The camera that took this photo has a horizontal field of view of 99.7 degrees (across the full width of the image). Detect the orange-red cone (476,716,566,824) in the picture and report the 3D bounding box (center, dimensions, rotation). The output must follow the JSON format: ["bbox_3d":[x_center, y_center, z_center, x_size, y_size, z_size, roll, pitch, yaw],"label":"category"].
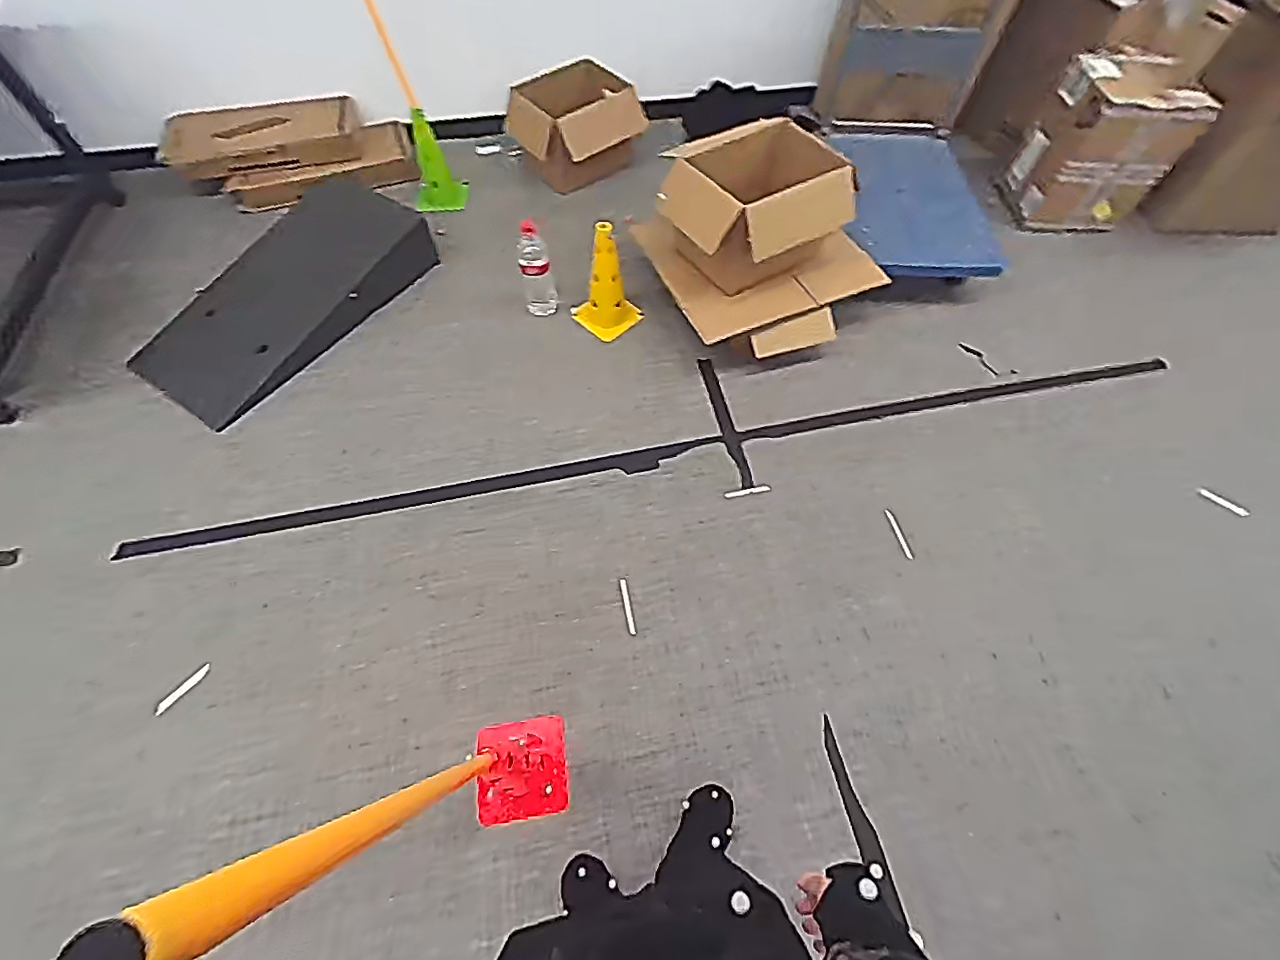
[{"bbox_3d":[-0.264,0.557,1.062,0.198,0.360,0.199,-7,59,-5],"label":"orange-red cone"}]
